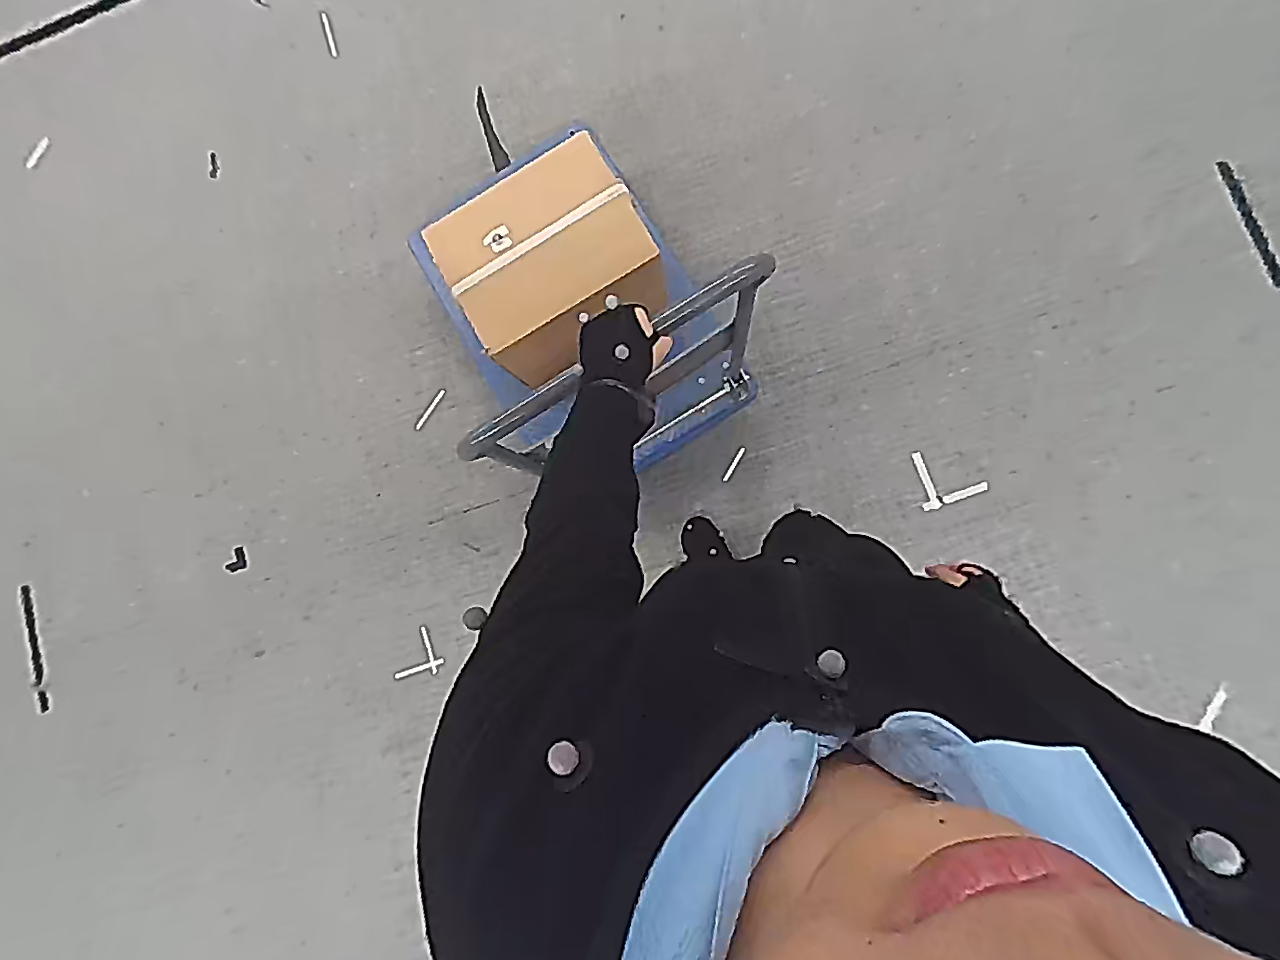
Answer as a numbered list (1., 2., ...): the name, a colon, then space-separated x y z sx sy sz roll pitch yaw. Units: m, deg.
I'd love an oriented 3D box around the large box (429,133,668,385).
1. large box: -0.187 -0.480 1.258 0.408 0.320 0.320 -30 83 4
